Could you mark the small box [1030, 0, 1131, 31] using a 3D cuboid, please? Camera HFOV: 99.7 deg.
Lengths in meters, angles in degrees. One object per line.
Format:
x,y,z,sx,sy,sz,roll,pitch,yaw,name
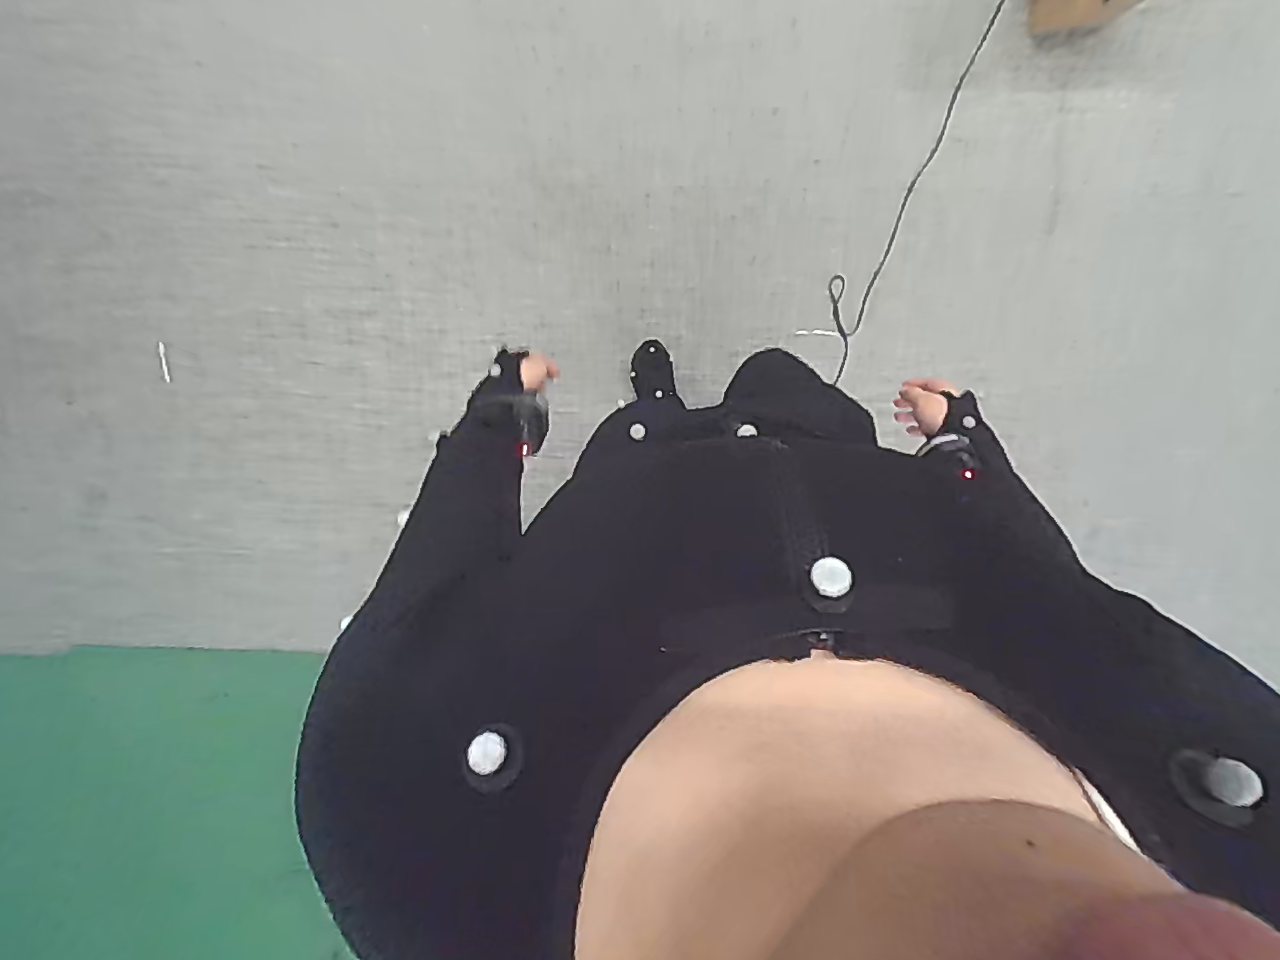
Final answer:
0.940,-1.066,1.108,0.179,0.176,0.168,-6,104,4,small box
